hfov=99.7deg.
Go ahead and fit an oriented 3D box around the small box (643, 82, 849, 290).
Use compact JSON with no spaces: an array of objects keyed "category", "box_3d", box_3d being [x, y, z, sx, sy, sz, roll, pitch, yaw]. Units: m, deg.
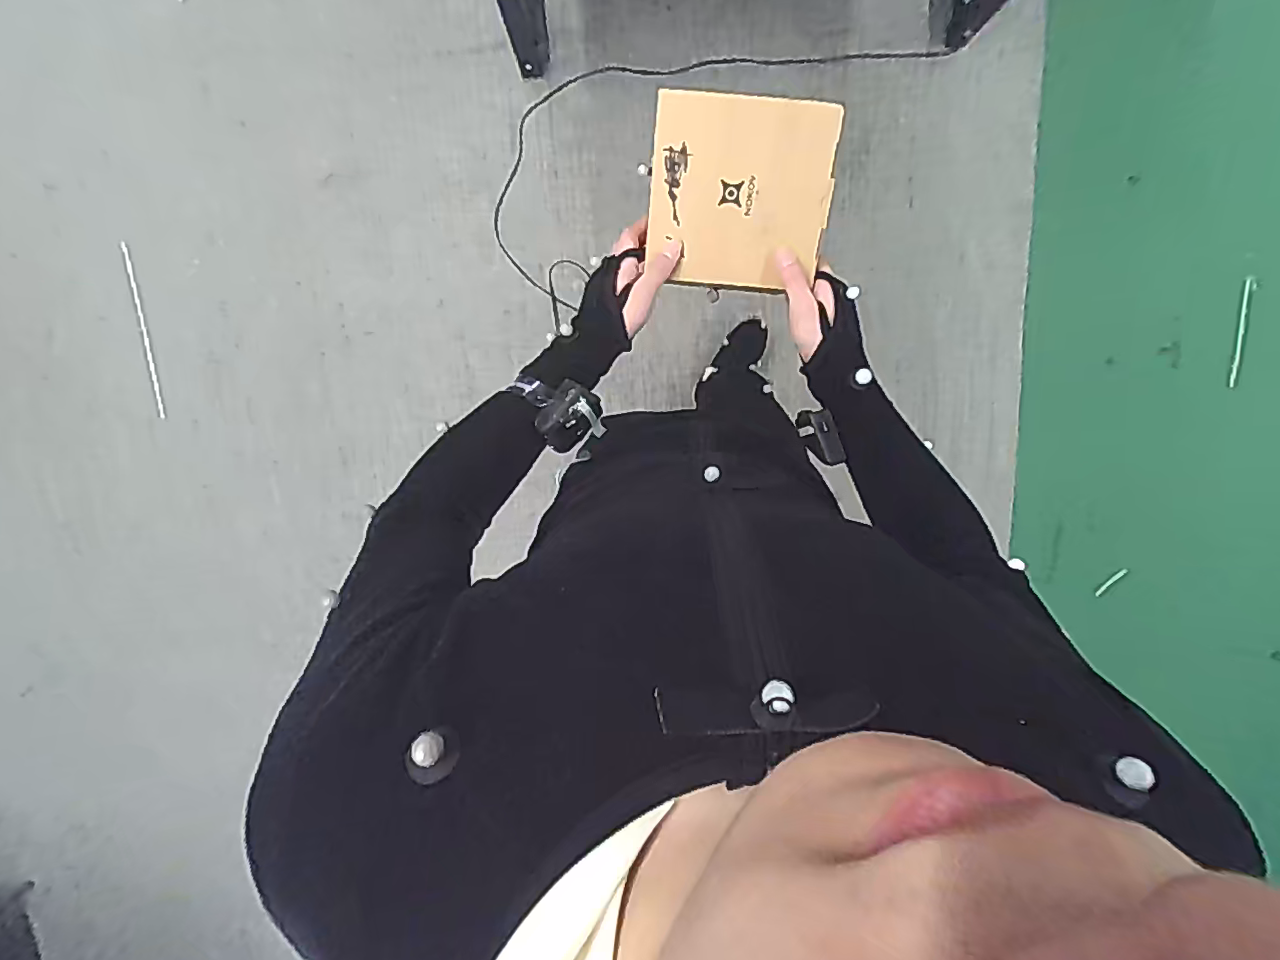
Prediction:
[{"category":"small box","box_3d":[0.098,-0.302,0.592,0.179,0.176,0.168,4,108,-1]}]
